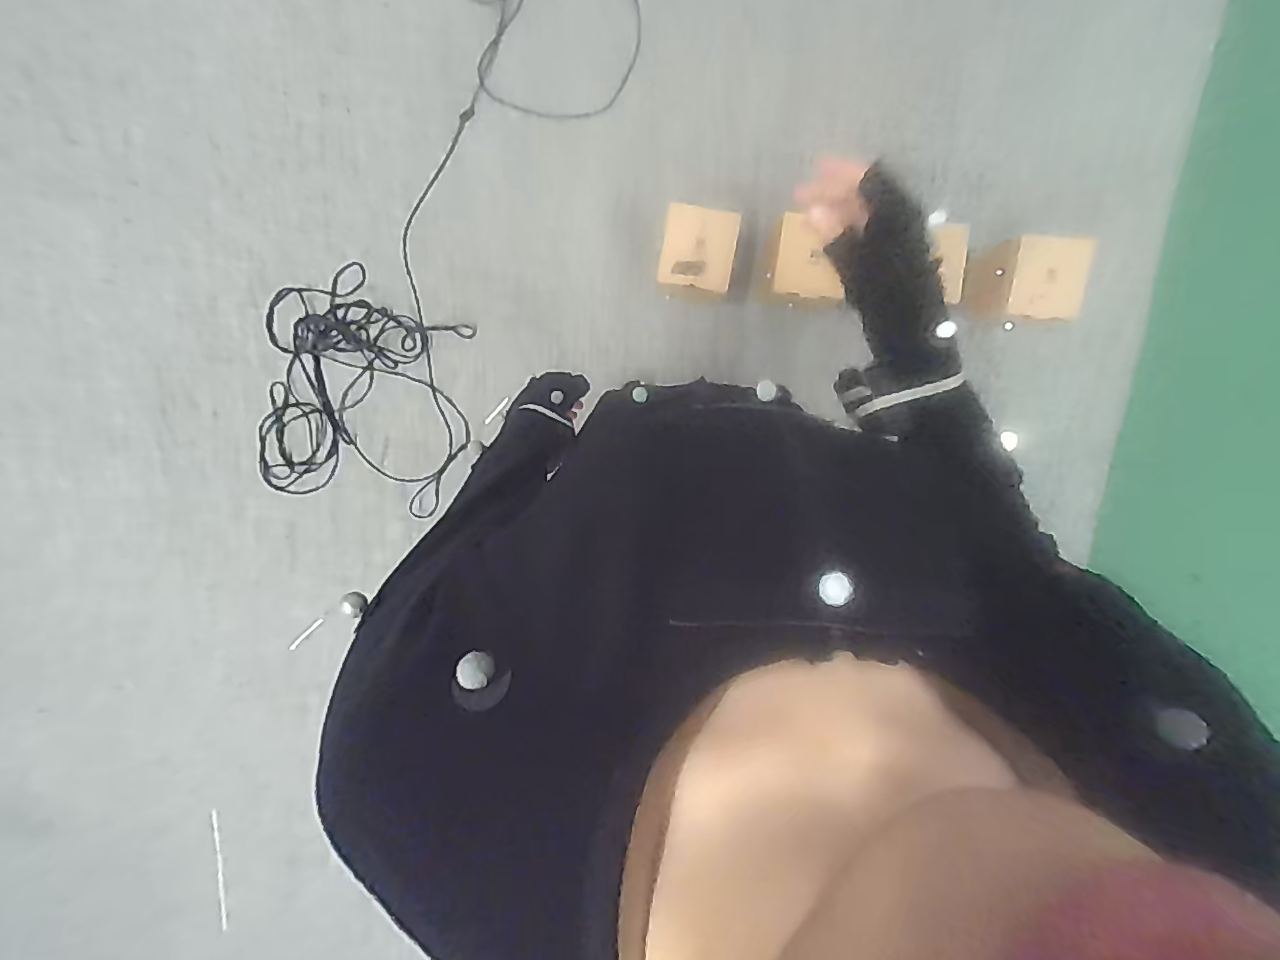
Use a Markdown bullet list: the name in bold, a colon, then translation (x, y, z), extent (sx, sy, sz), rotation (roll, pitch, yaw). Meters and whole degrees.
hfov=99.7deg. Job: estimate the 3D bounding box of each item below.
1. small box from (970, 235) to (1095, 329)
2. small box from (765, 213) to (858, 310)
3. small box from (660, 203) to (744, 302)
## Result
- **small box**: translation (0.933, -0.470, 1.303), extent (0.168, 0.176, 0.179), rotation (6, 101, 1)
- **small box**: translation (0.406, -0.521, 1.309), extent (0.168, 0.176, 0.179), rotation (6, 100, 2)
- **small box**: translation (0.145, -0.541, 1.313), extent (0.168, 0.176, 0.179), rotation (10, 100, 0)
